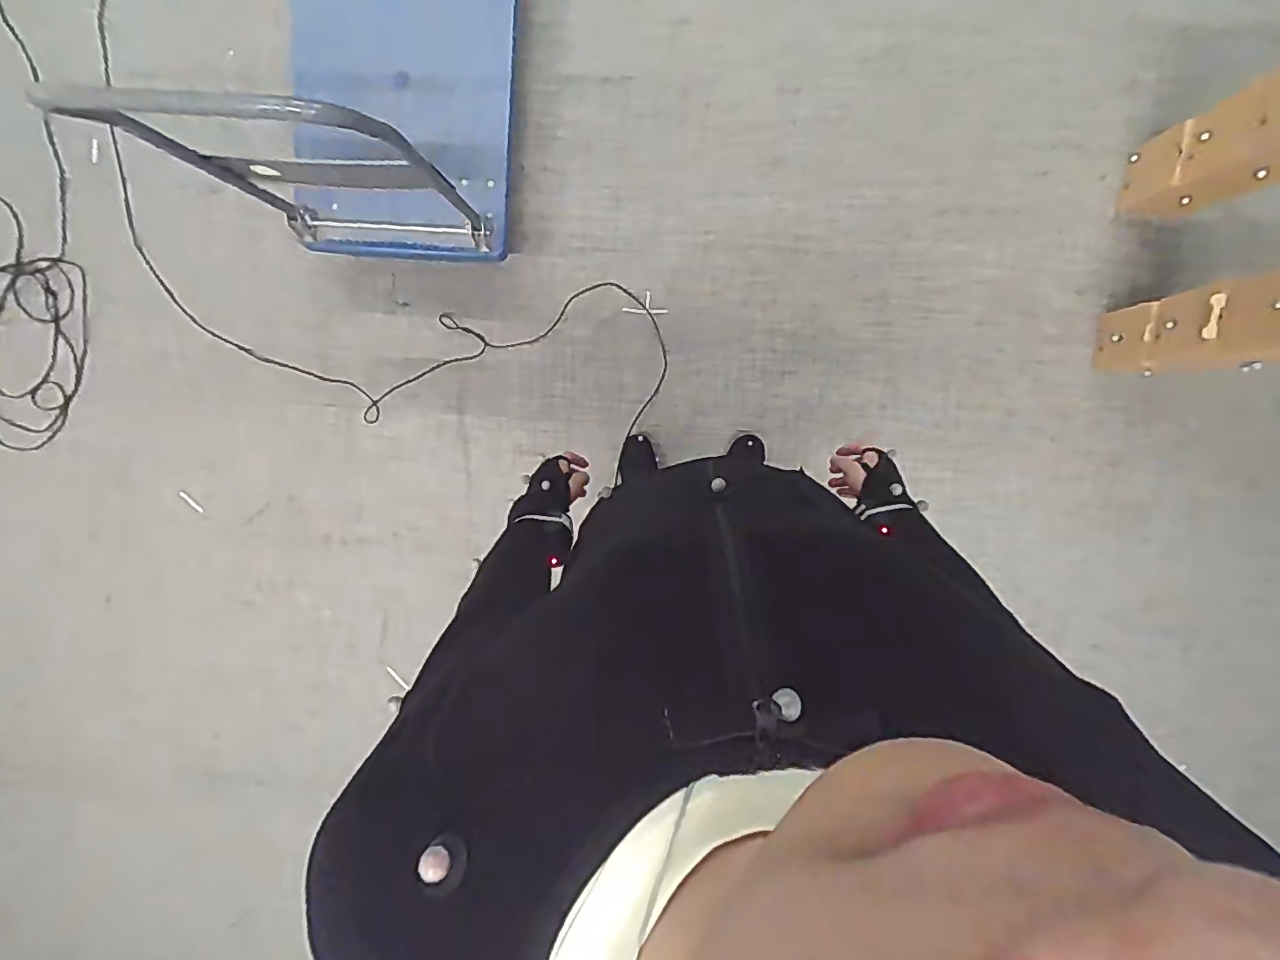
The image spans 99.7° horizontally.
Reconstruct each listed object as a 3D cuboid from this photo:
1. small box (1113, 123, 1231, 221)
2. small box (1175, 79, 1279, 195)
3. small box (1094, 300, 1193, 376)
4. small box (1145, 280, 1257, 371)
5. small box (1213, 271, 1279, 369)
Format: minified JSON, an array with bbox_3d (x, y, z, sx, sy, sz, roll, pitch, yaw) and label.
[{"bbox_3d":[1.430,-0.814,1.446,0.179,0.176,0.168,9,96,1],"label":"small box"},{"bbox_3d":[1.437,-0.792,1.268,0.179,0.176,0.168,9,96,2],"label":"small box"},{"bbox_3d":[1.392,-0.378,1.468,0.179,0.176,0.168,6,95,3],"label":"small box"},{"bbox_3d":[1.395,-0.364,1.304,0.179,0.176,0.168,11,95,1],"label":"small box"},{"bbox_3d":[1.386,-0.343,1.142,0.168,0.176,0.179,10,95,2],"label":"small box"}]
